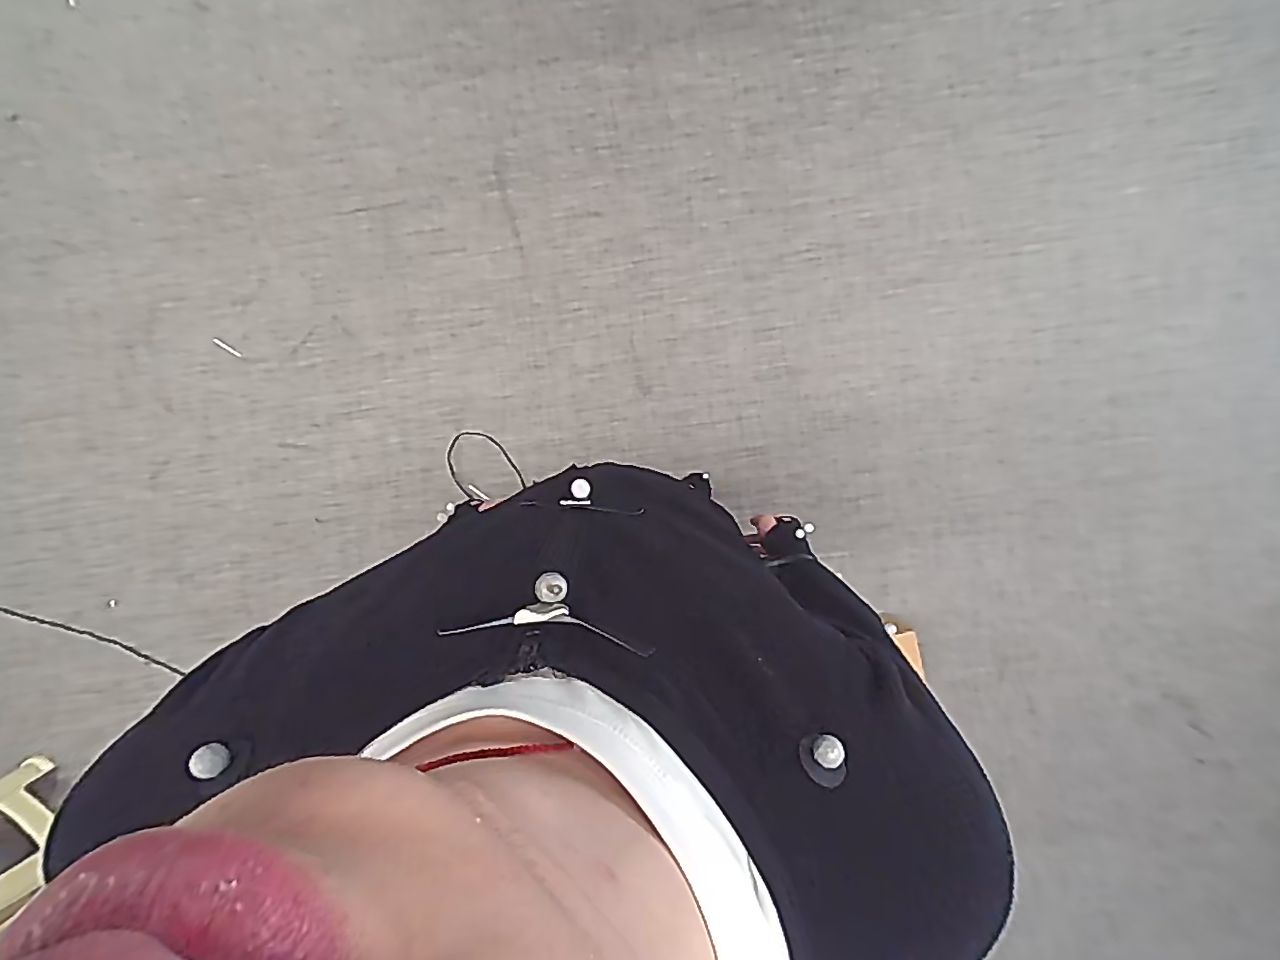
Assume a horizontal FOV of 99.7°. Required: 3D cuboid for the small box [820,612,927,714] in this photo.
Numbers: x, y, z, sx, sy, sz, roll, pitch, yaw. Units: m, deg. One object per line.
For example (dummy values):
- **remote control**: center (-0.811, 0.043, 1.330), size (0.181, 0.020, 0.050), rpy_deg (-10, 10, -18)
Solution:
- **small box**: center (0.632, 0.492, 1.487), size (0.179, 0.176, 0.168), rpy_deg (-41, 93, 2)
